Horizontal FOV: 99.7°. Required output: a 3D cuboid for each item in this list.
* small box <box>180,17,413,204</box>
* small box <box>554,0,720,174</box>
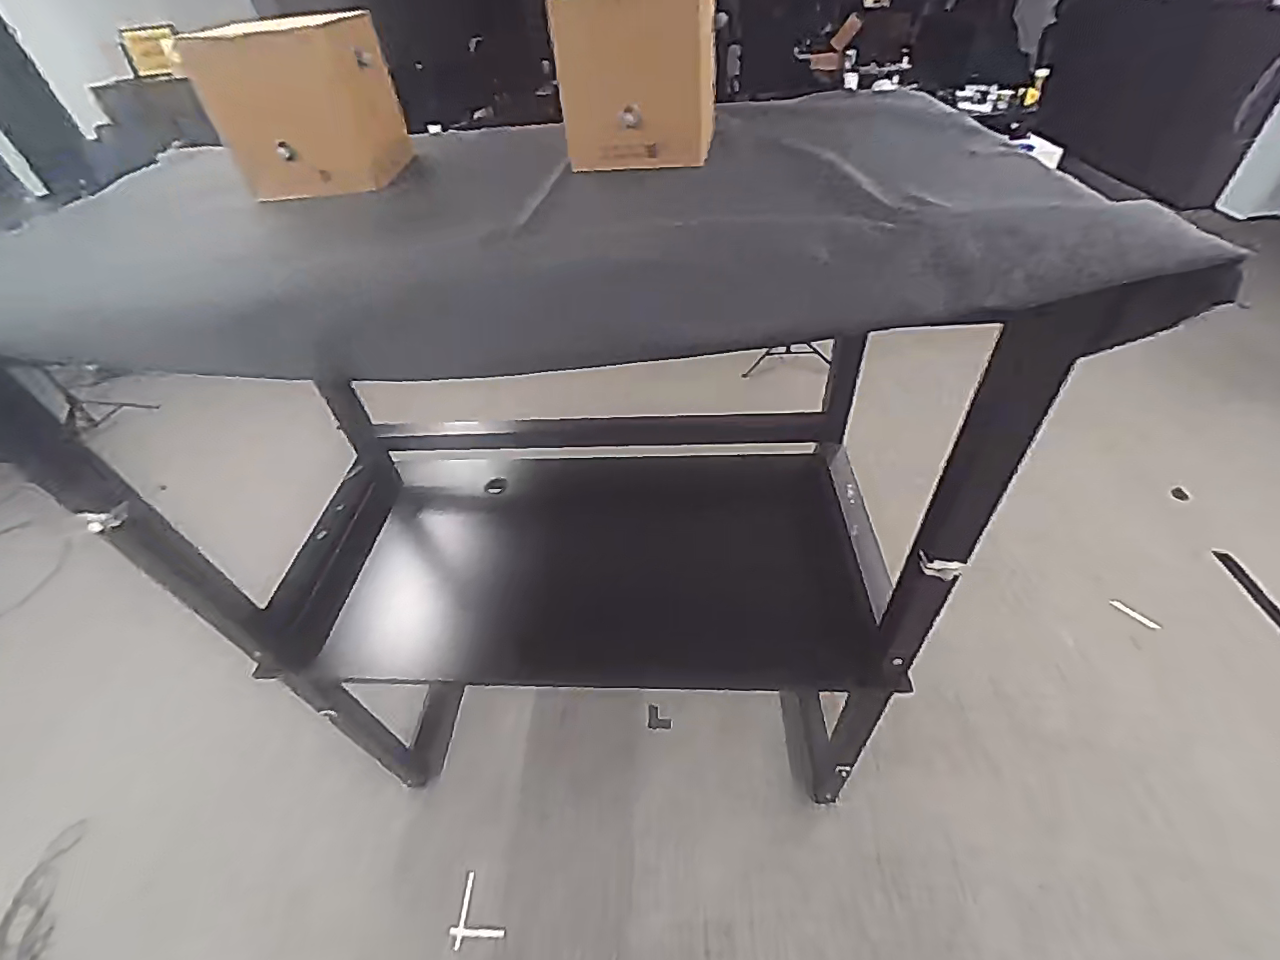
[{"bbox_3d":[-0.414,-0.472,0.694,0.168,0.176,0.179,-5,45,1],"label":"small box"},{"bbox_3d":[0.008,-0.494,0.666,0.168,0.176,0.179,3,45,10],"label":"small box"}]
